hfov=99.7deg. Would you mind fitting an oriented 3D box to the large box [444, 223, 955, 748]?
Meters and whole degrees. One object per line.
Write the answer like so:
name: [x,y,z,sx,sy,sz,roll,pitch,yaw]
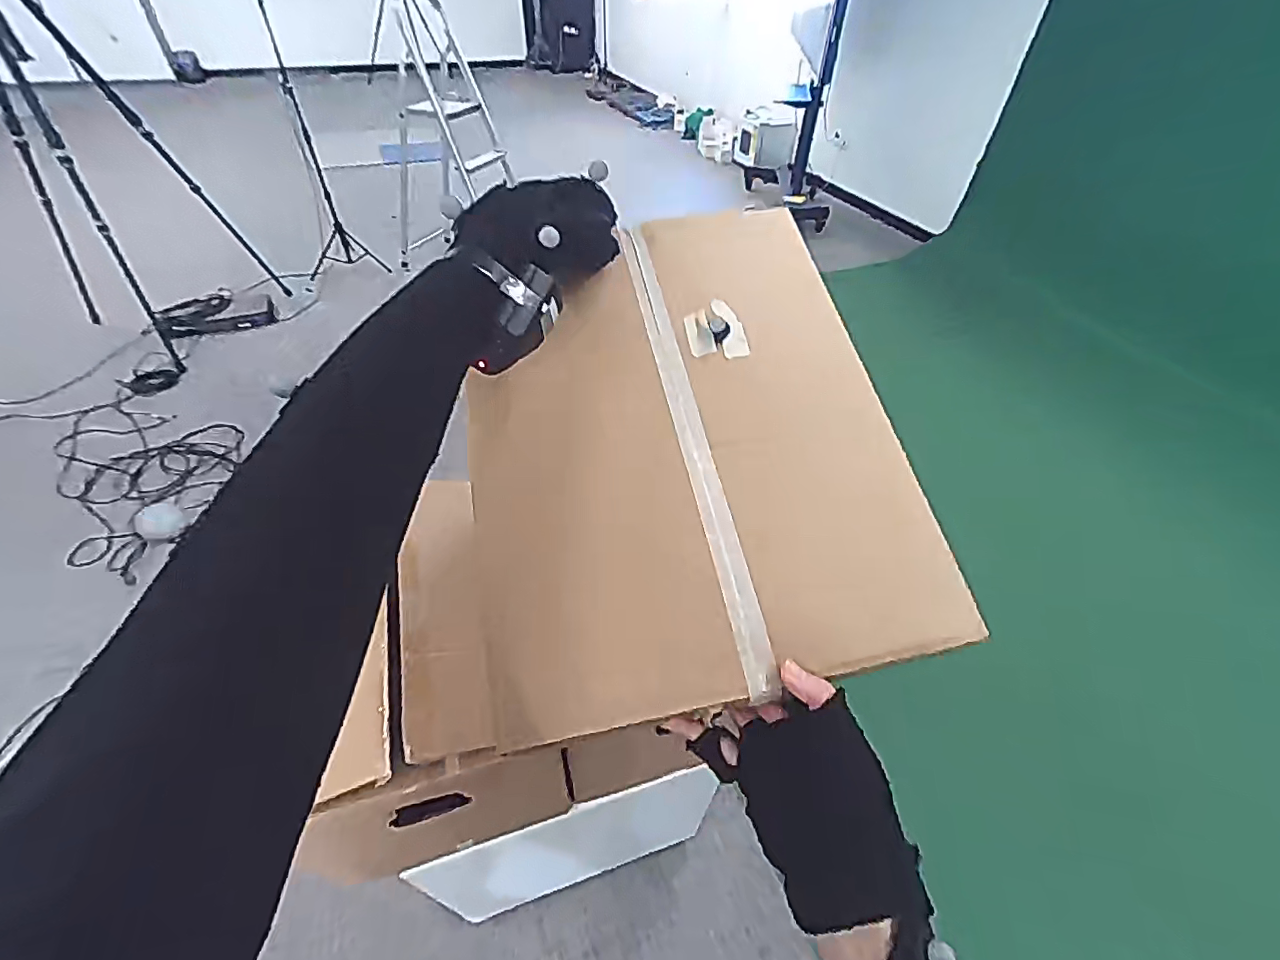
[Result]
large box: [0.010,0.017,0.548,0.320,0.320,0.408,-9,63,-9]
